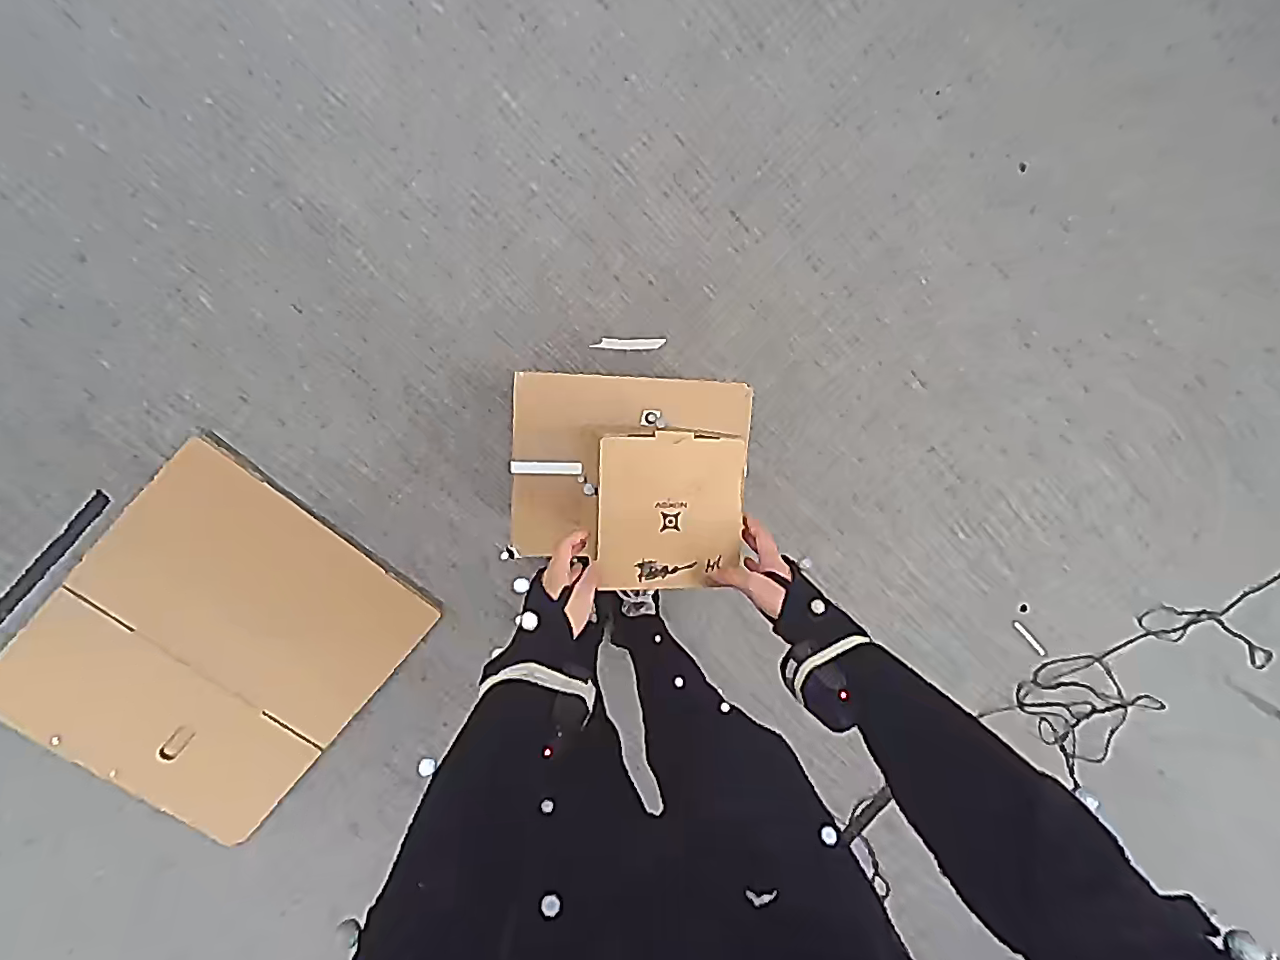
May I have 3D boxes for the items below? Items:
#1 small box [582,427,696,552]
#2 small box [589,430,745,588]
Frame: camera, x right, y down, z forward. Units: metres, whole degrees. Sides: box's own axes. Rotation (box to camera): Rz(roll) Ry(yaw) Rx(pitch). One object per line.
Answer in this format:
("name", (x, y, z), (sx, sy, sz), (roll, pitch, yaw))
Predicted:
("small box", (-0.004, 0.008, 0.840), (0.168, 0.176, 0.179), (0, 98, -9))
("small box", (0.023, 0.026, 0.678), (0.168, 0.176, 0.179), (0, 97, -9))
